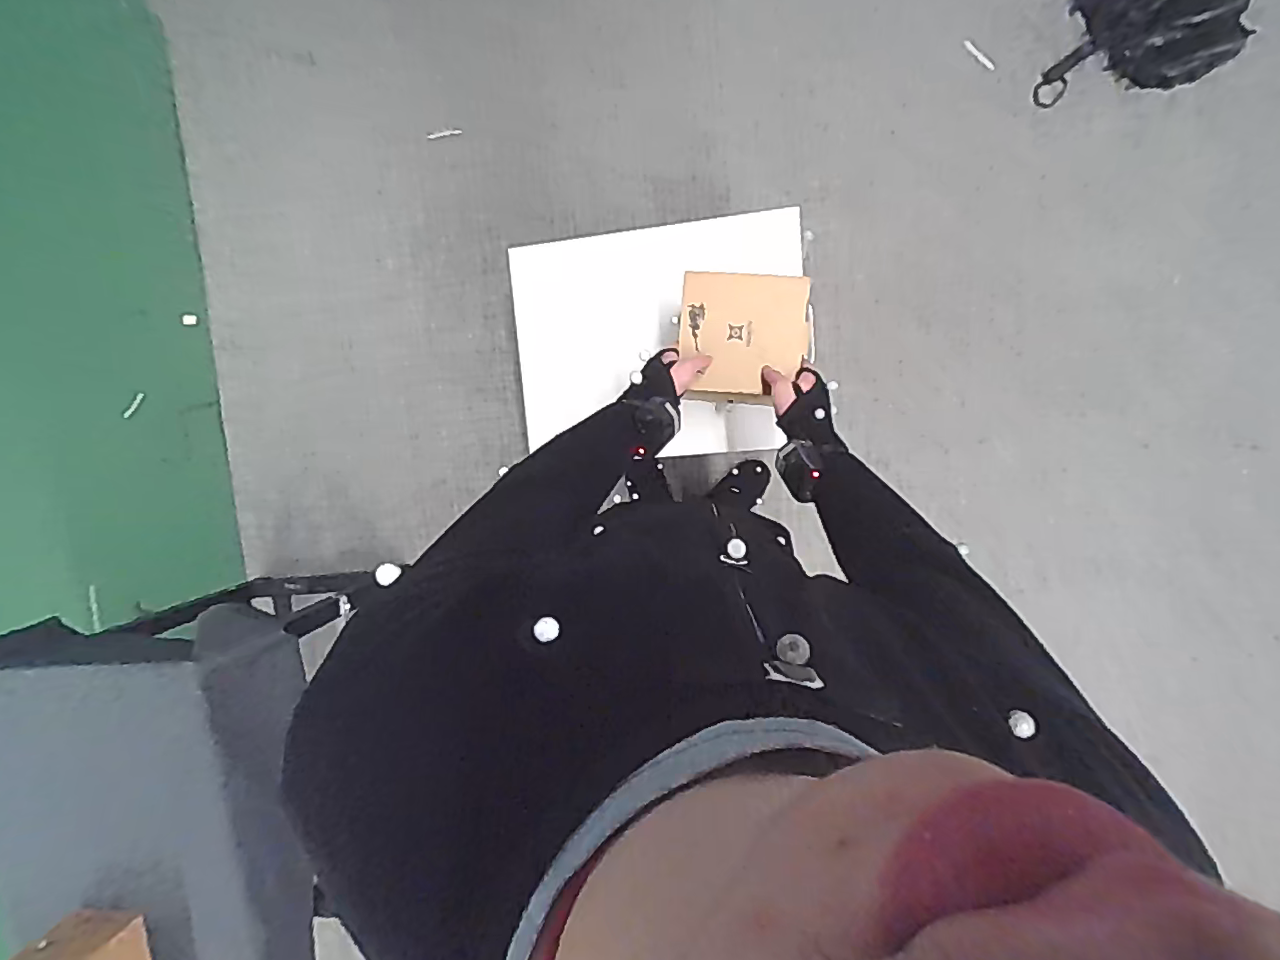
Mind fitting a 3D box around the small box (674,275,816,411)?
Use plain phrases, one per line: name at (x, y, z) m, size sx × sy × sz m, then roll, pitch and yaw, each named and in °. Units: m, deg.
small box at (0.146, -0.194, 0.810) m, size 0.179 × 0.176 × 0.168 m, roll 4°, pitch 93°, yaw 2°
